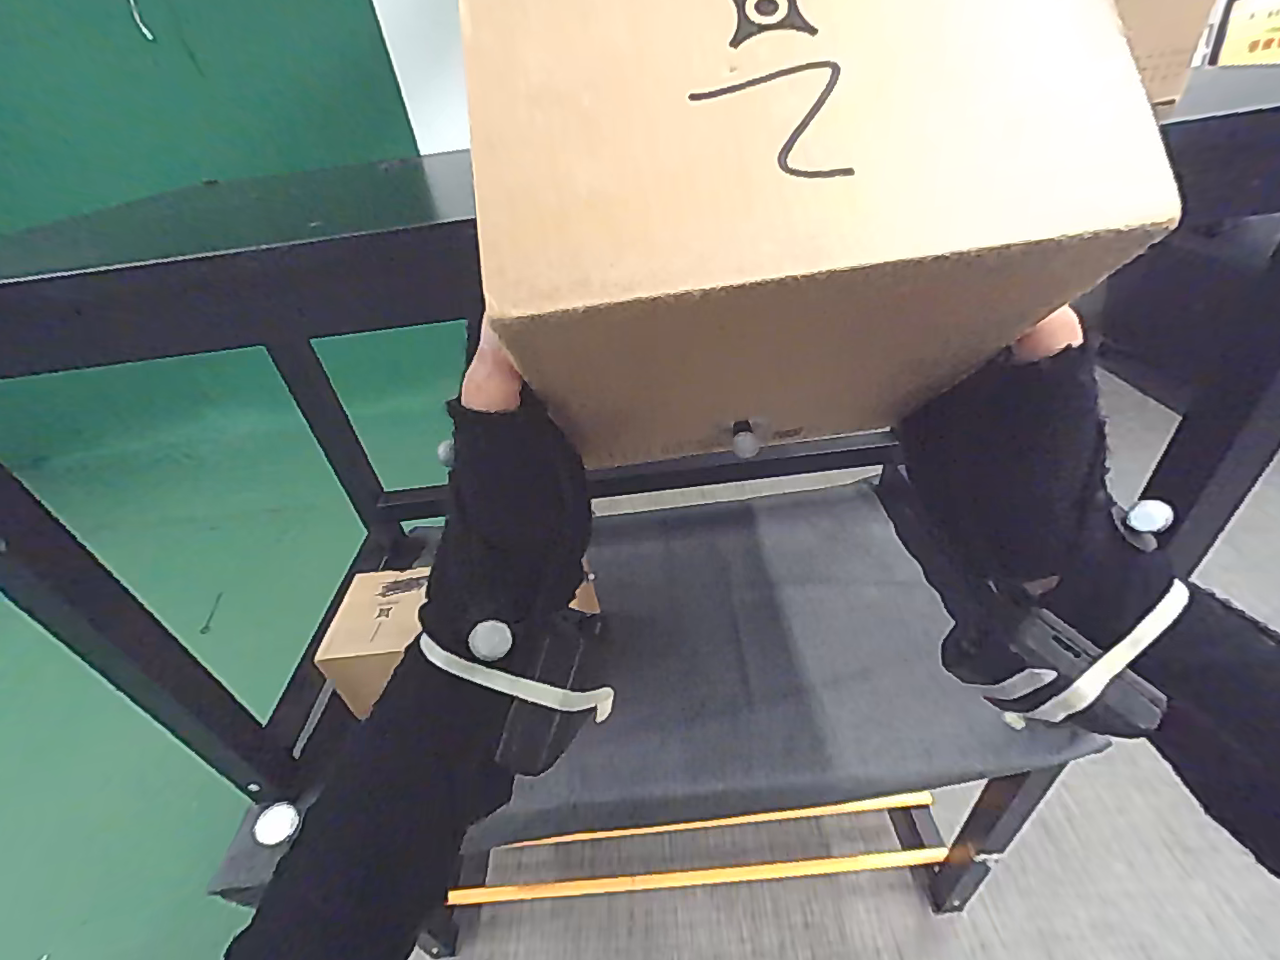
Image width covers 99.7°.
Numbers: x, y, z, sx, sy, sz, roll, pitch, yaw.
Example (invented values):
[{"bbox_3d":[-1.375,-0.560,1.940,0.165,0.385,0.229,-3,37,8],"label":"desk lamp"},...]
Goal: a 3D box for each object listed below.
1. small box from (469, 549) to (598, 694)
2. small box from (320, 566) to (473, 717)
[{"bbox_3d":[-0.166,0.242,0.913,0.168,0.176,0.179,-6,35,3],"label":"small box"},{"bbox_3d":[-0.392,0.270,0.914,0.168,0.176,0.179,-6,36,2],"label":"small box"}]
